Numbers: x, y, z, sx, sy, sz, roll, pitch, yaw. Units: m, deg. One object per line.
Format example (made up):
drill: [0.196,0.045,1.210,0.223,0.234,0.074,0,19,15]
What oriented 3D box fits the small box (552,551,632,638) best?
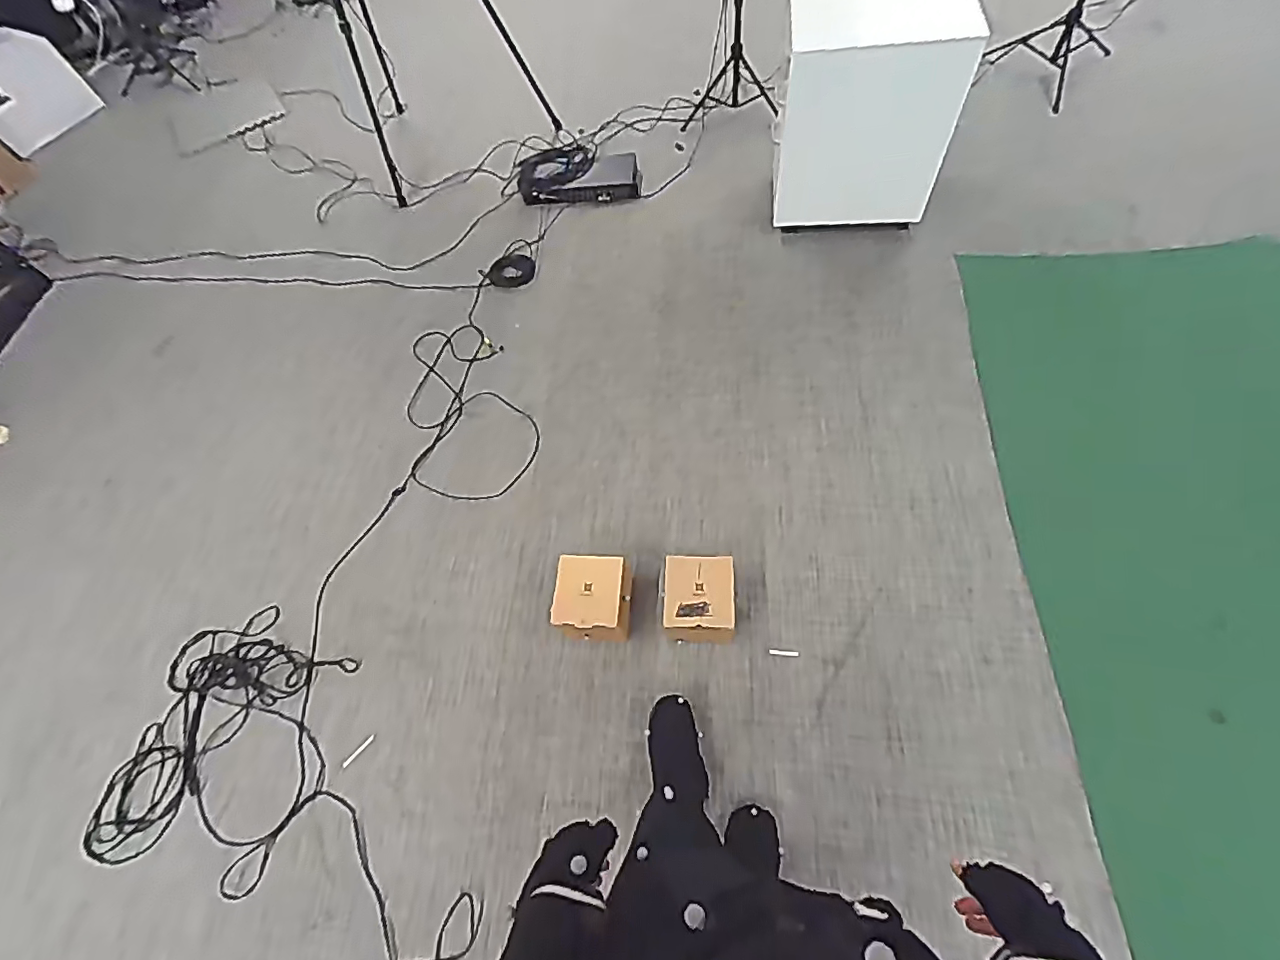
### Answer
small box: [-0.116,0.297,1.392,0.168,0.176,0.179,0,62,9]

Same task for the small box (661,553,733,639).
small box: [0.148,0.294,1.354,0.168,0.176,0.179,0,61,8]
